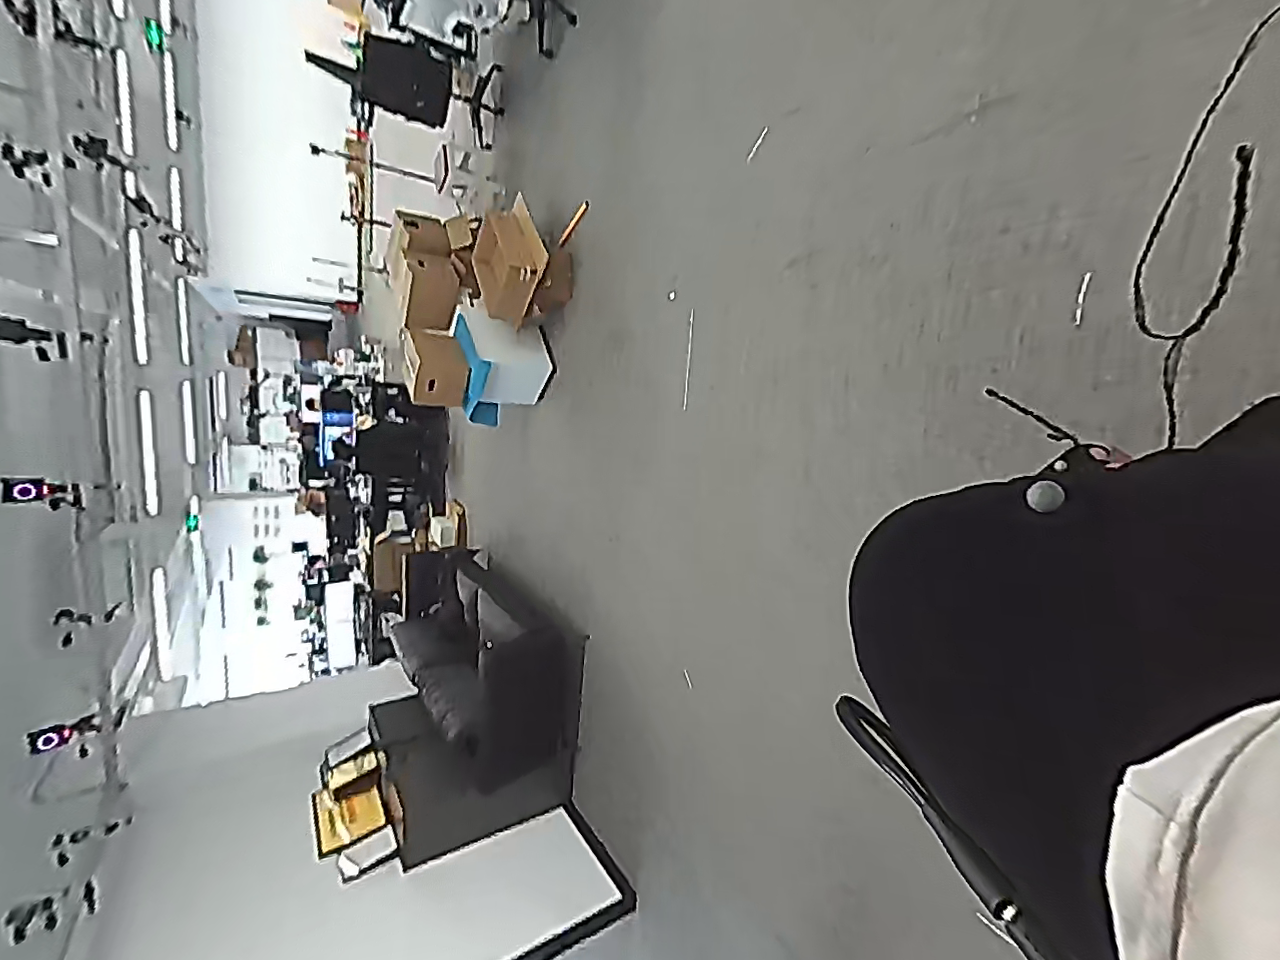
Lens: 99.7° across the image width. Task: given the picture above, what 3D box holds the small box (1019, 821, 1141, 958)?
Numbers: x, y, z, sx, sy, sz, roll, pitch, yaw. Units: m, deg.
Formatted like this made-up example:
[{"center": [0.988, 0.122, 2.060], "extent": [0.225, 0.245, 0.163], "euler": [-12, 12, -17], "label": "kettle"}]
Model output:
[{"center": [1.061, 0.970, 1.302], "extent": [0.179, 0.176, 0.168], "euler": [18, 105, 55], "label": "small box"}]
